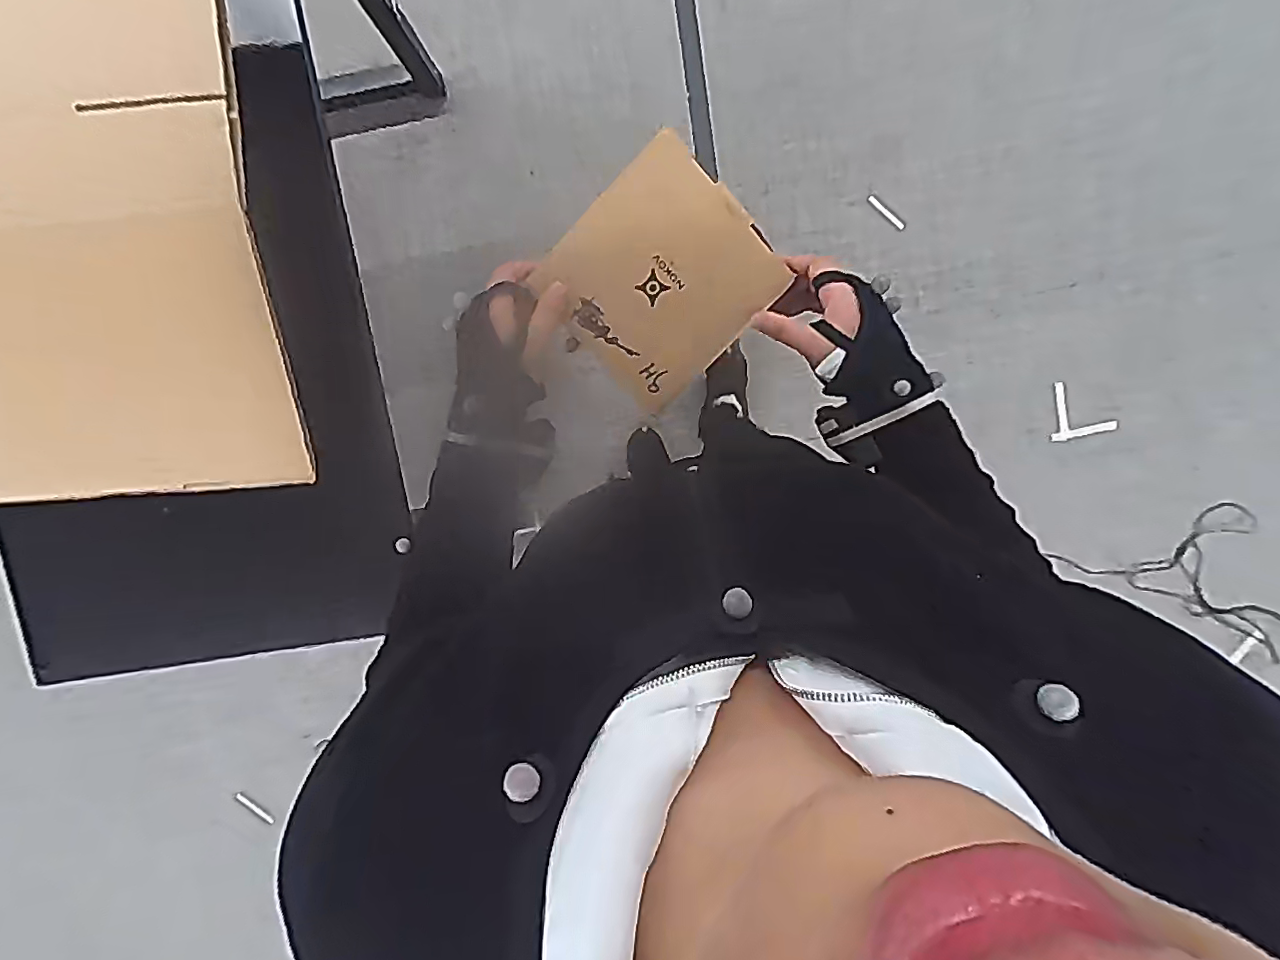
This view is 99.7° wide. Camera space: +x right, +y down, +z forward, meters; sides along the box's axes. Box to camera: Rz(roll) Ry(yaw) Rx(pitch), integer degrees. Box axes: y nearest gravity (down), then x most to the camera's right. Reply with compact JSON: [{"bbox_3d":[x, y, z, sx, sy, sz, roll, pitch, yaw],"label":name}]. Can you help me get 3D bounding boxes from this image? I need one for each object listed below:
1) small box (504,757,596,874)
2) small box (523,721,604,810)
[{"bbox_3d":[-0.216,0.828,1.351,0.179,0.176,0.168,-16,95,4],"label":"small box"},{"bbox_3d":[-0.207,0.806,1.512,0.179,0.176,0.168,-13,96,2],"label":"small box"}]
